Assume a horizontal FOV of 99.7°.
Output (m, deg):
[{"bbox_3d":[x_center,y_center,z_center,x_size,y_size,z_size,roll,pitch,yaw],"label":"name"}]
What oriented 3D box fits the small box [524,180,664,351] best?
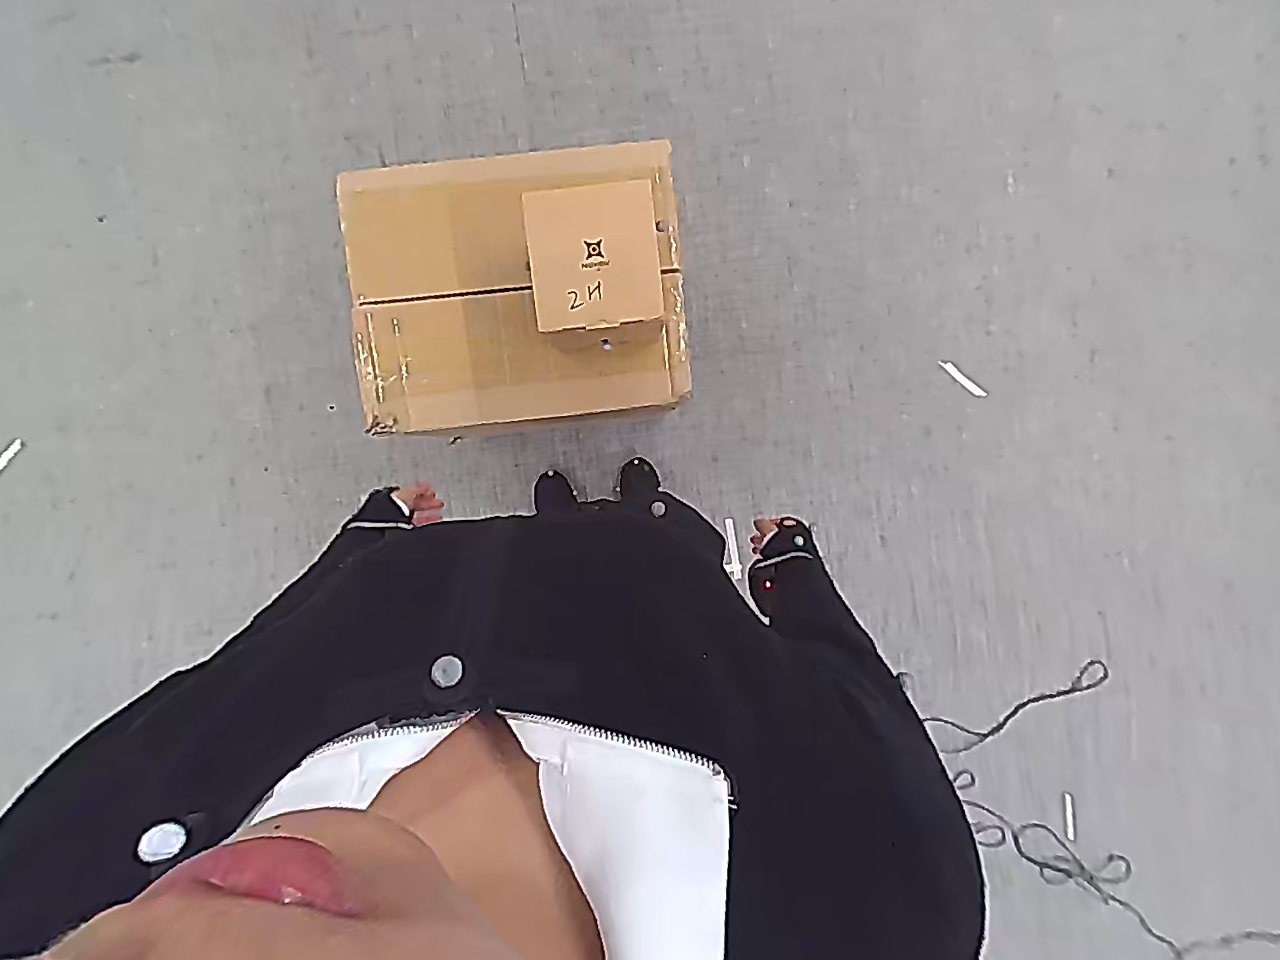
[{"bbox_3d":[-0.060,-0.291,0.765,0.168,0.176,0.179,-7,95,0],"label":"small box"}]
